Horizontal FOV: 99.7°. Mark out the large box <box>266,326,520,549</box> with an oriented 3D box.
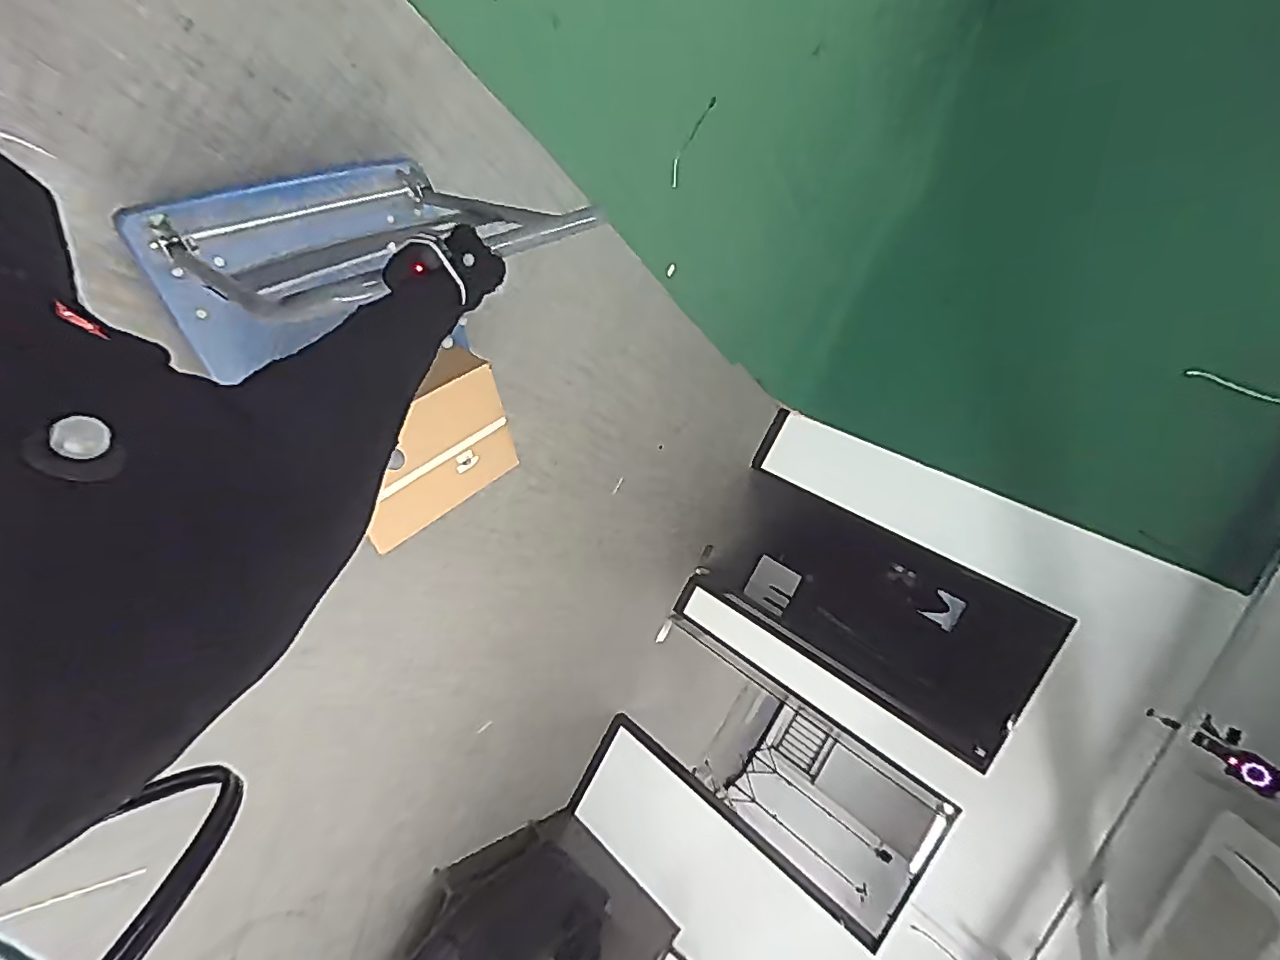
[{"bbox_3d":[-0.569,-0.118,1.302,0.408,0.320,0.320,-40,144,-31],"label":"large box"}]
